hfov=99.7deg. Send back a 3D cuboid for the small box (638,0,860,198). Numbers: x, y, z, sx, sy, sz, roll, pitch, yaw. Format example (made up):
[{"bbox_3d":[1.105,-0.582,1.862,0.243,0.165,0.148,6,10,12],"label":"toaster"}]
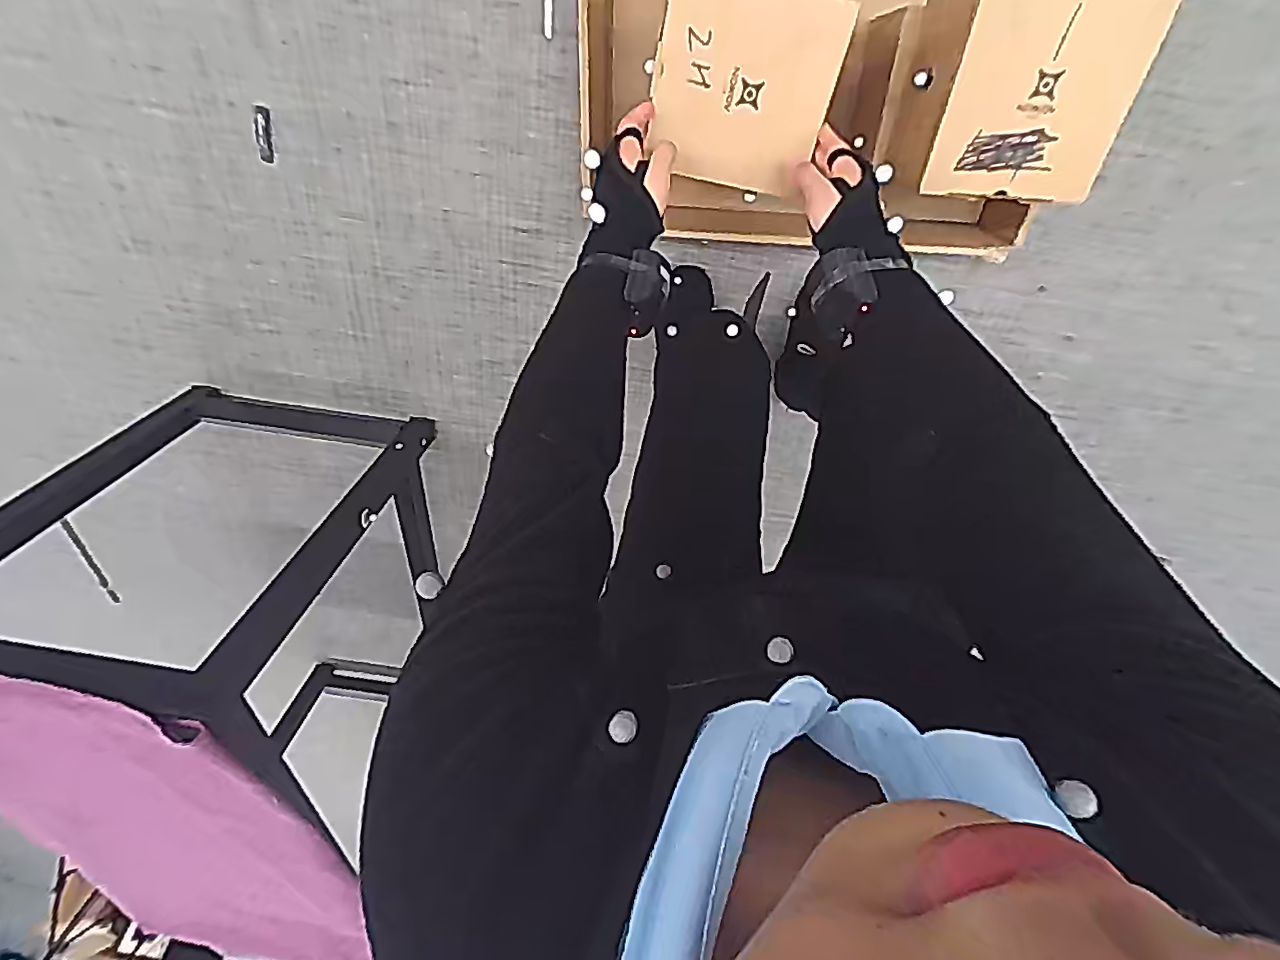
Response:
[{"bbox_3d":[0.104,-0.427,0.585,0.179,0.176,0.168,11,127,-2],"label":"small box"}]

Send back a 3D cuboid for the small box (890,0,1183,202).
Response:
[{"bbox_3d":[0.381,-0.406,0.562,0.168,0.176,0.179,6,127,4],"label":"small box"}]
